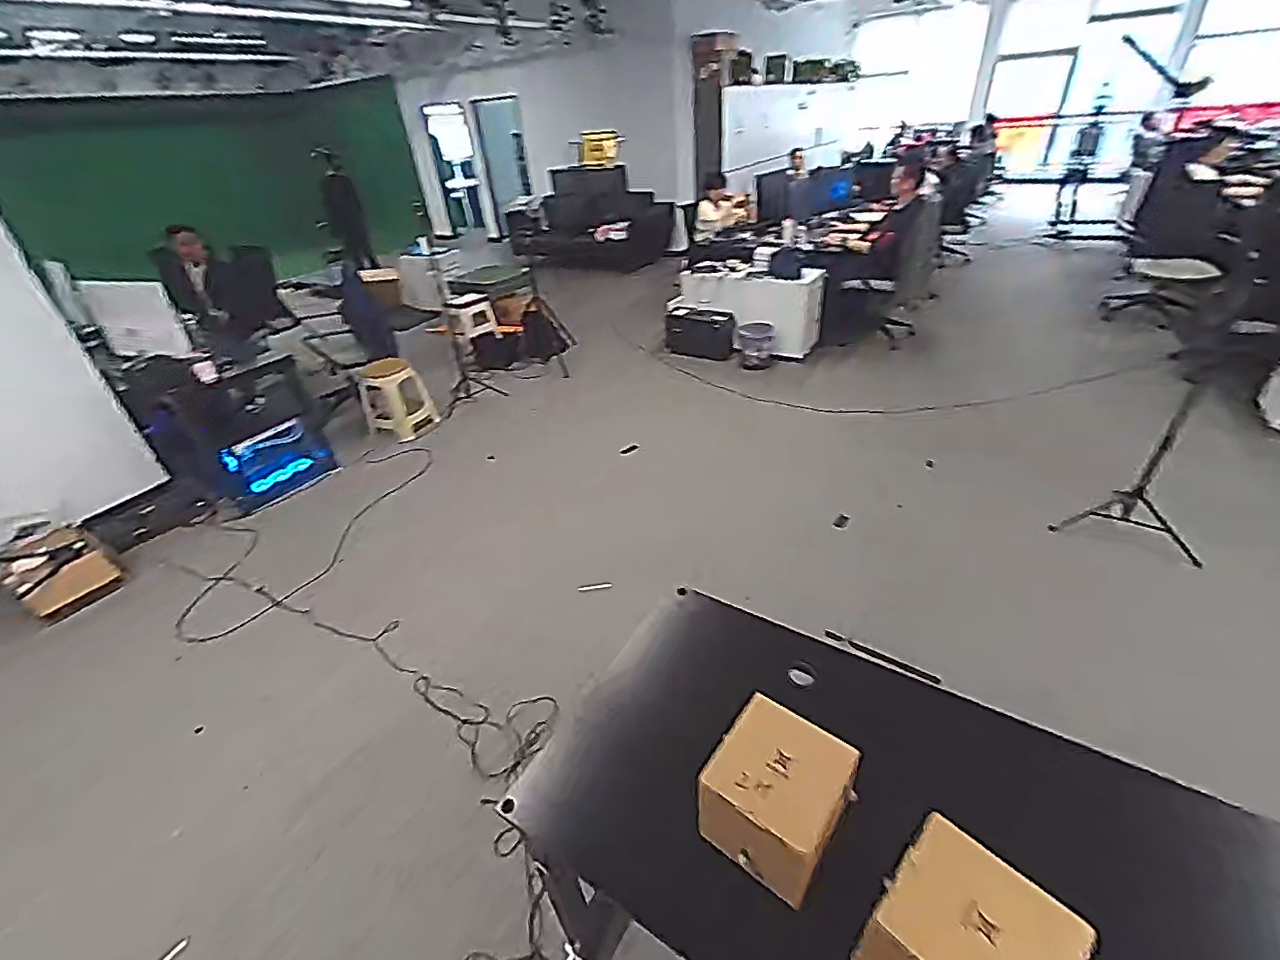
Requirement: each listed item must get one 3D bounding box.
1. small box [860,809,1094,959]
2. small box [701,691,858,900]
[{"bbox_3d":[0.392,0.557,0.651,0.168,0.176,0.179,-31,40,-33],"label":"small box"},{"bbox_3d":[0.205,0.467,0.812,0.168,0.176,0.179,20,42,34],"label":"small box"}]
